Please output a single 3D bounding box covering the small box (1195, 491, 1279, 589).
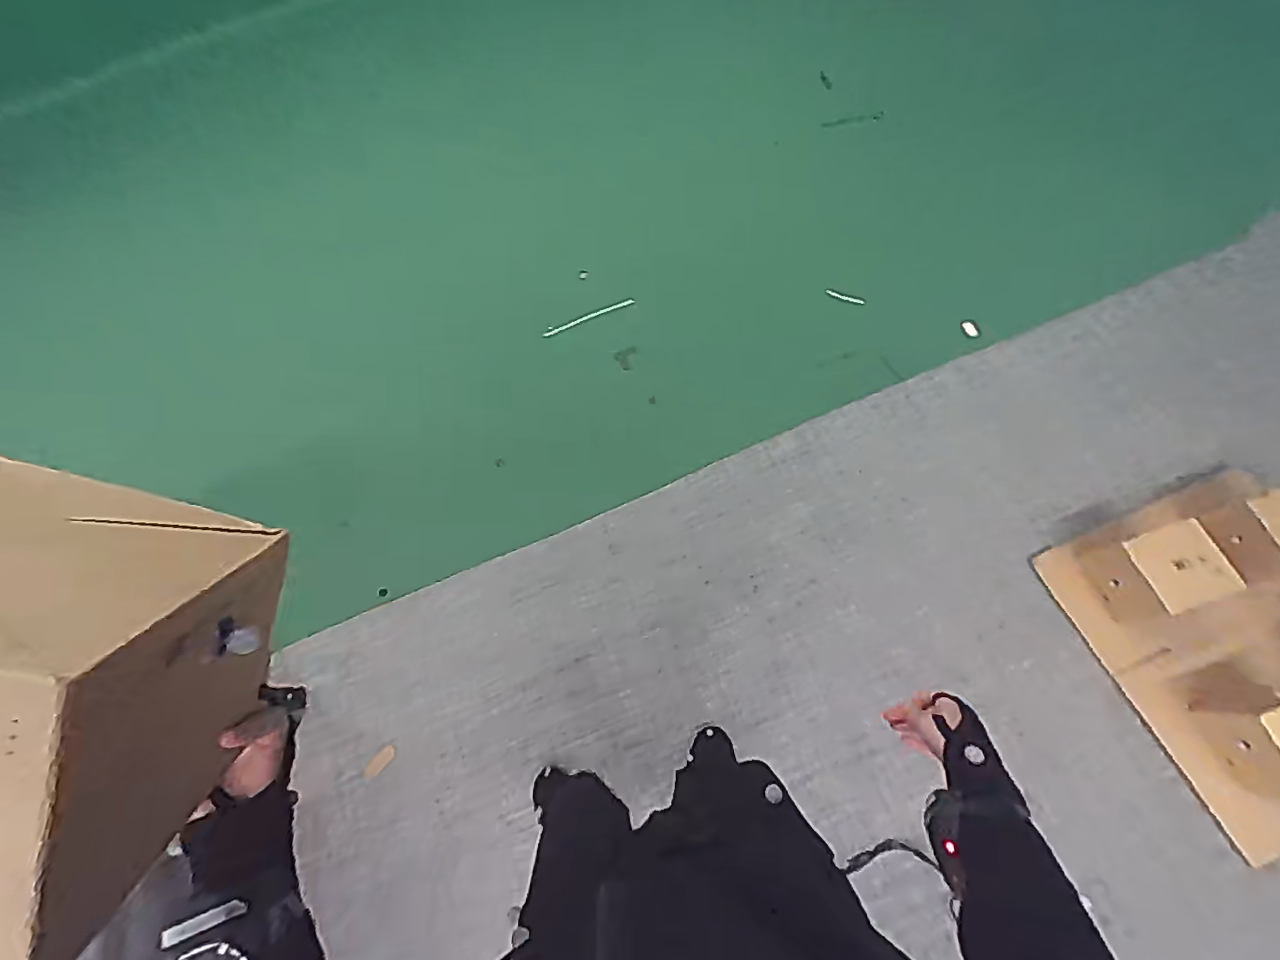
[{"bbox_3d":[1.428,0.134,1.226,0.168,0.176,0.179,-17,67,-1],"label":"small box"}]

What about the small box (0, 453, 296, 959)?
[{"bbox_3d":[-0.303,0.094,0.256,0.179,0.168,0.176,17,101,-13],"label":"small box"}]

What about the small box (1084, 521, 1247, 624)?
[{"bbox_3d":[1.163,0.216,1.222,0.179,0.176,0.168,-18,68,-1],"label":"small box"}]

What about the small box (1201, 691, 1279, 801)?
[{"bbox_3d":[1.297,0.530,1.078,0.179,0.176,0.168,-19,68,-2],"label":"small box"}]
